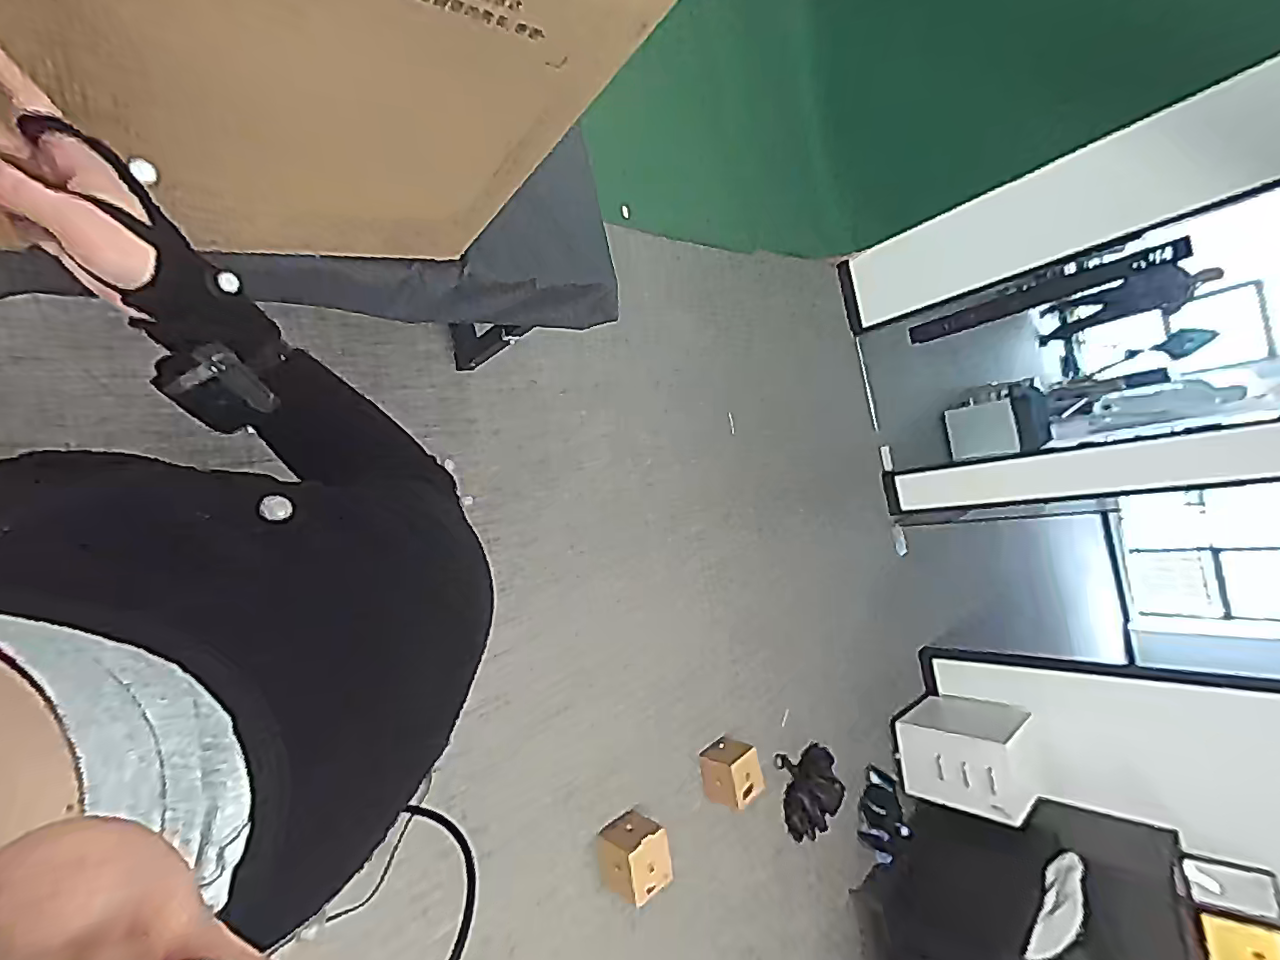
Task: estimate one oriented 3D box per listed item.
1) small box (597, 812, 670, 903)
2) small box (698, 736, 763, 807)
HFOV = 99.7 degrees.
[{"bbox_3d":[-0.026,1.240,1.798,0.168,0.176,0.179,-8,87,-42],"label":"small box"},{"bbox_3d":[0.356,1.146,2.143,0.168,0.176,0.179,-12,89,-42],"label":"small box"}]
